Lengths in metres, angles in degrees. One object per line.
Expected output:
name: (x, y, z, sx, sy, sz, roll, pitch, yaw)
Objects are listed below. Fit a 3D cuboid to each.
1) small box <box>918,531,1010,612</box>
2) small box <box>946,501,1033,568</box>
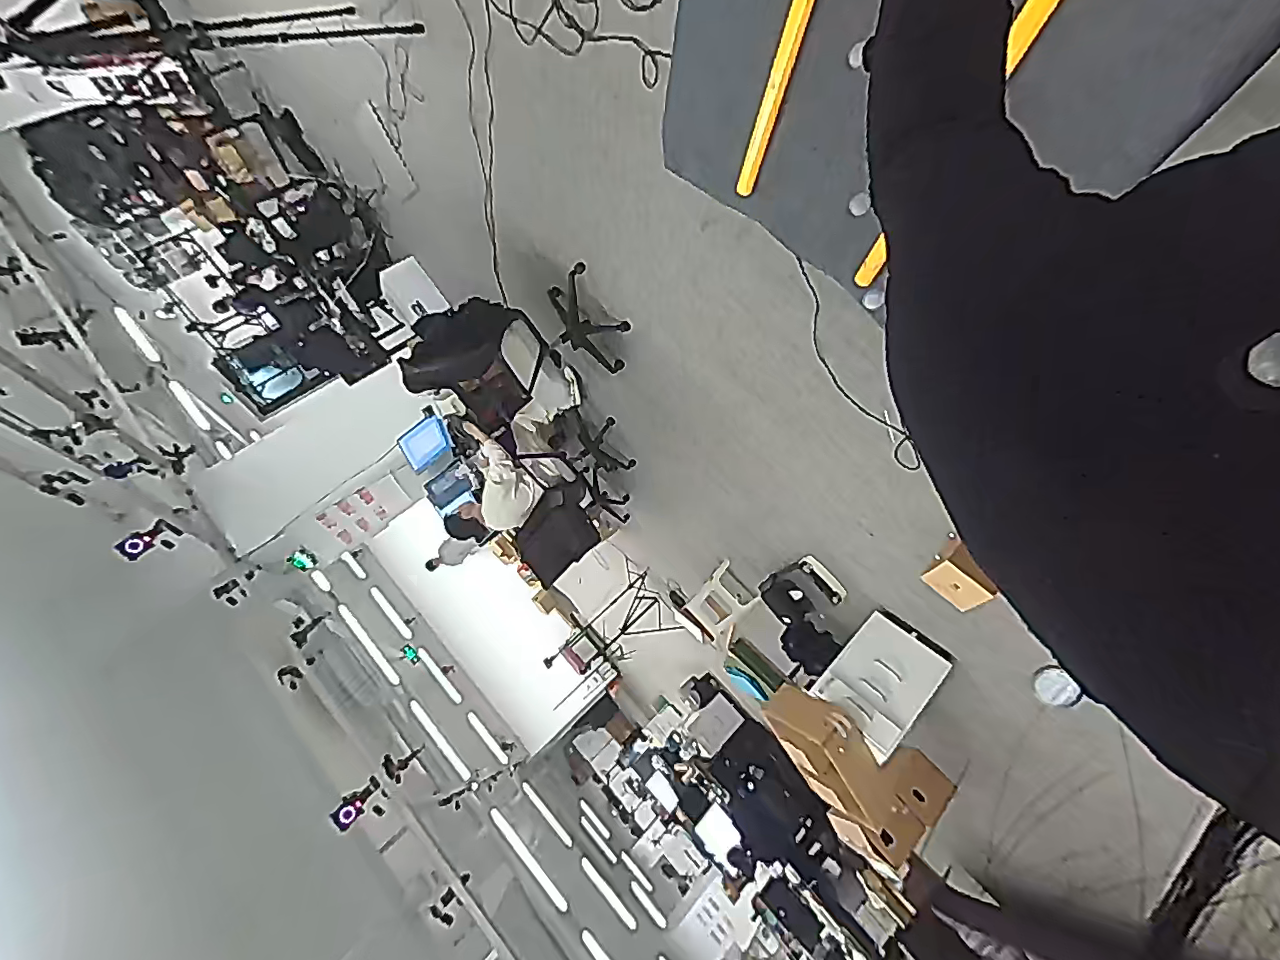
small box: (1.054, 0.293, 1.751, 0.168, 0.176, 0.179, 43, 158, 18)
small box: (1.174, 0.201, 1.818, 0.168, 0.176, 0.179, 43, 158, 16)
